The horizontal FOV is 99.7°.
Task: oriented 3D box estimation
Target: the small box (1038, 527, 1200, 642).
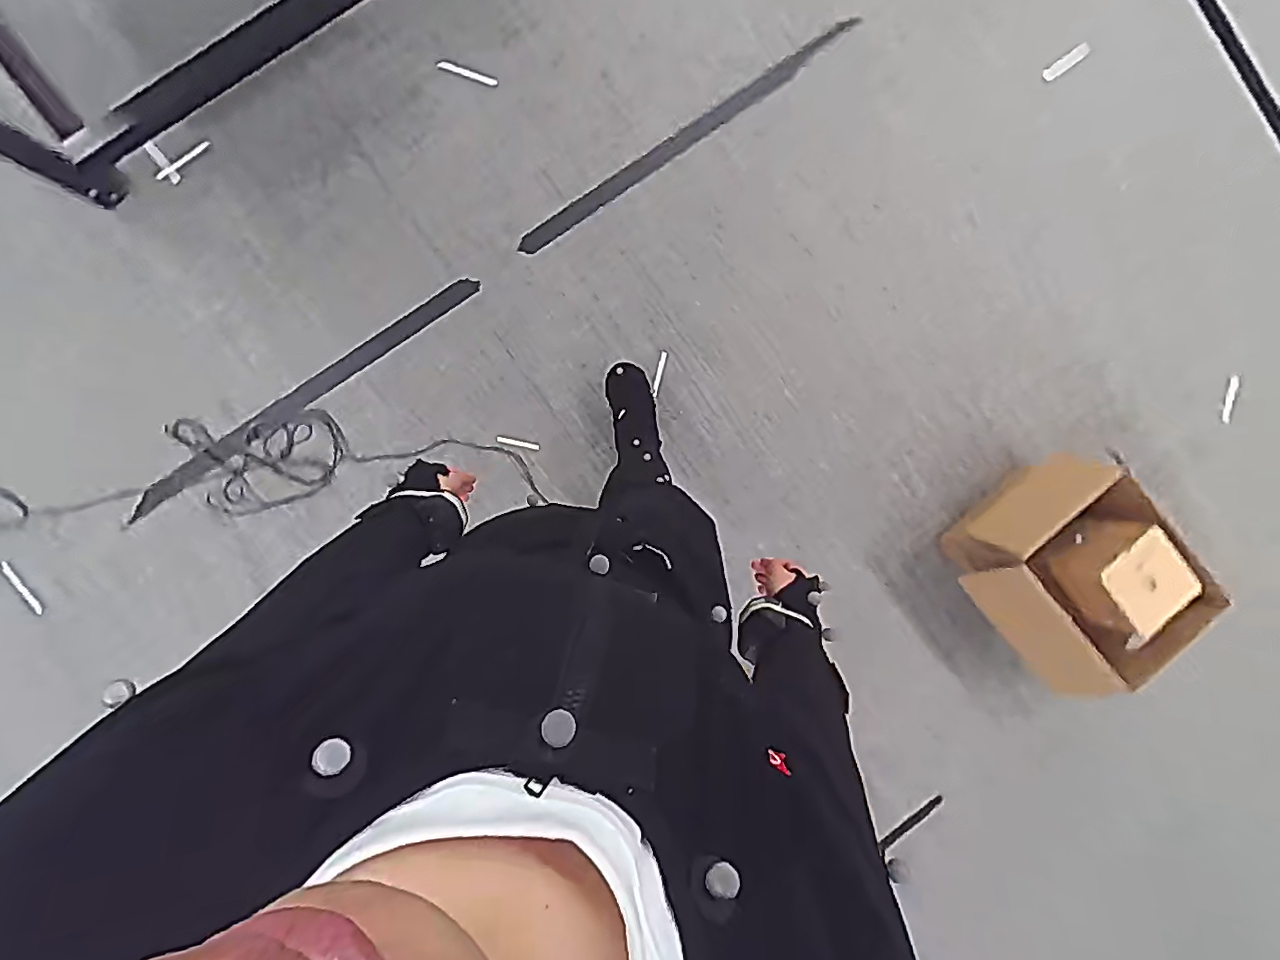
[{"bbox_3d":[1.055,0.222,1.205,0.168,0.176,0.179,-39,93,-2],"label":"small box"}]
